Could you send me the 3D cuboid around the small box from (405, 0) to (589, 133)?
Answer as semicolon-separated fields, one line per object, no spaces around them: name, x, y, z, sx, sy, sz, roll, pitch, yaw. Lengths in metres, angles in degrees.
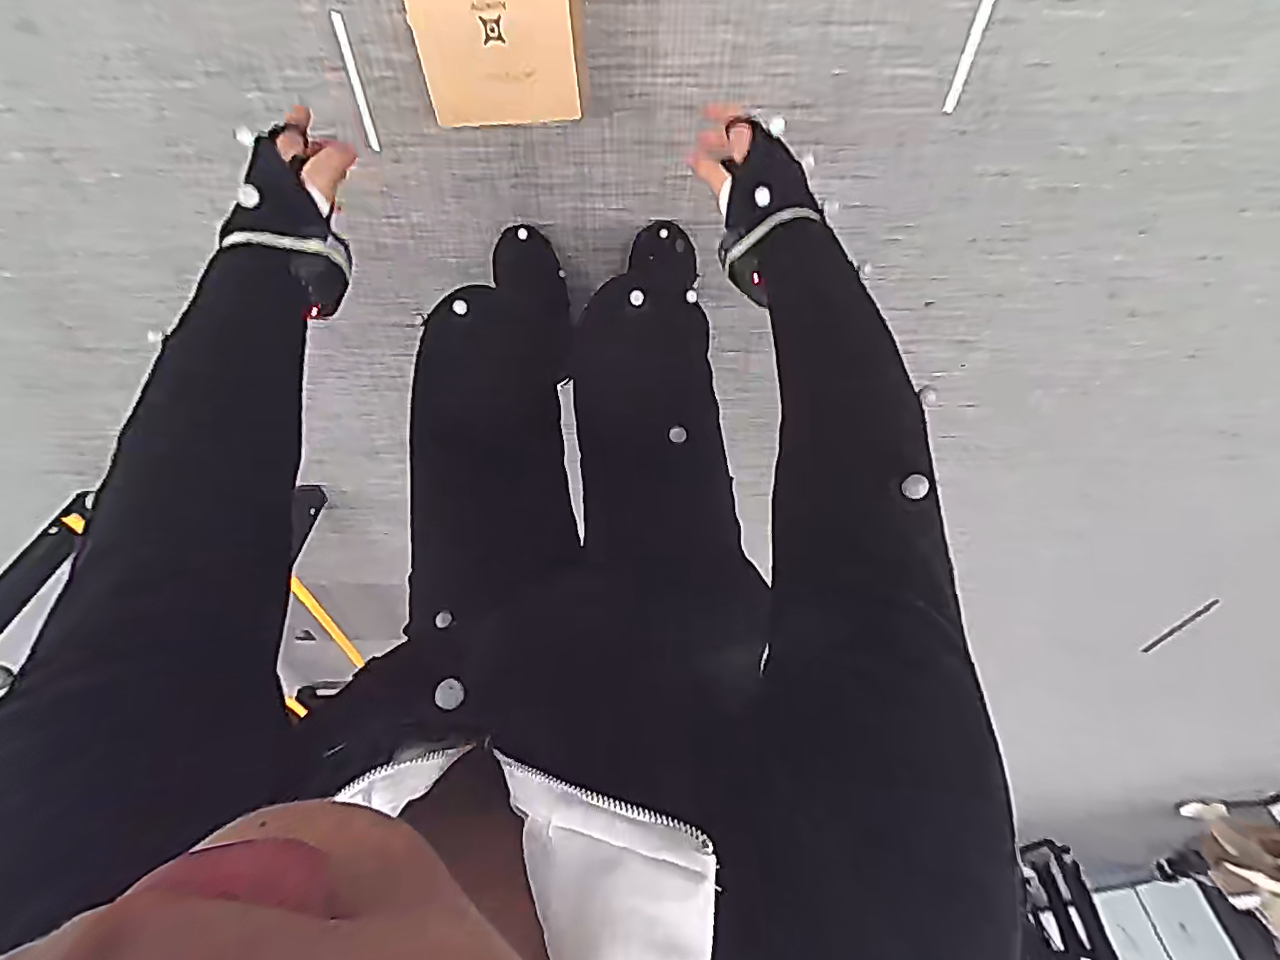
small box;-0.151;-0.518;0.608;0.168;0.176;0.179;-2;137;3
